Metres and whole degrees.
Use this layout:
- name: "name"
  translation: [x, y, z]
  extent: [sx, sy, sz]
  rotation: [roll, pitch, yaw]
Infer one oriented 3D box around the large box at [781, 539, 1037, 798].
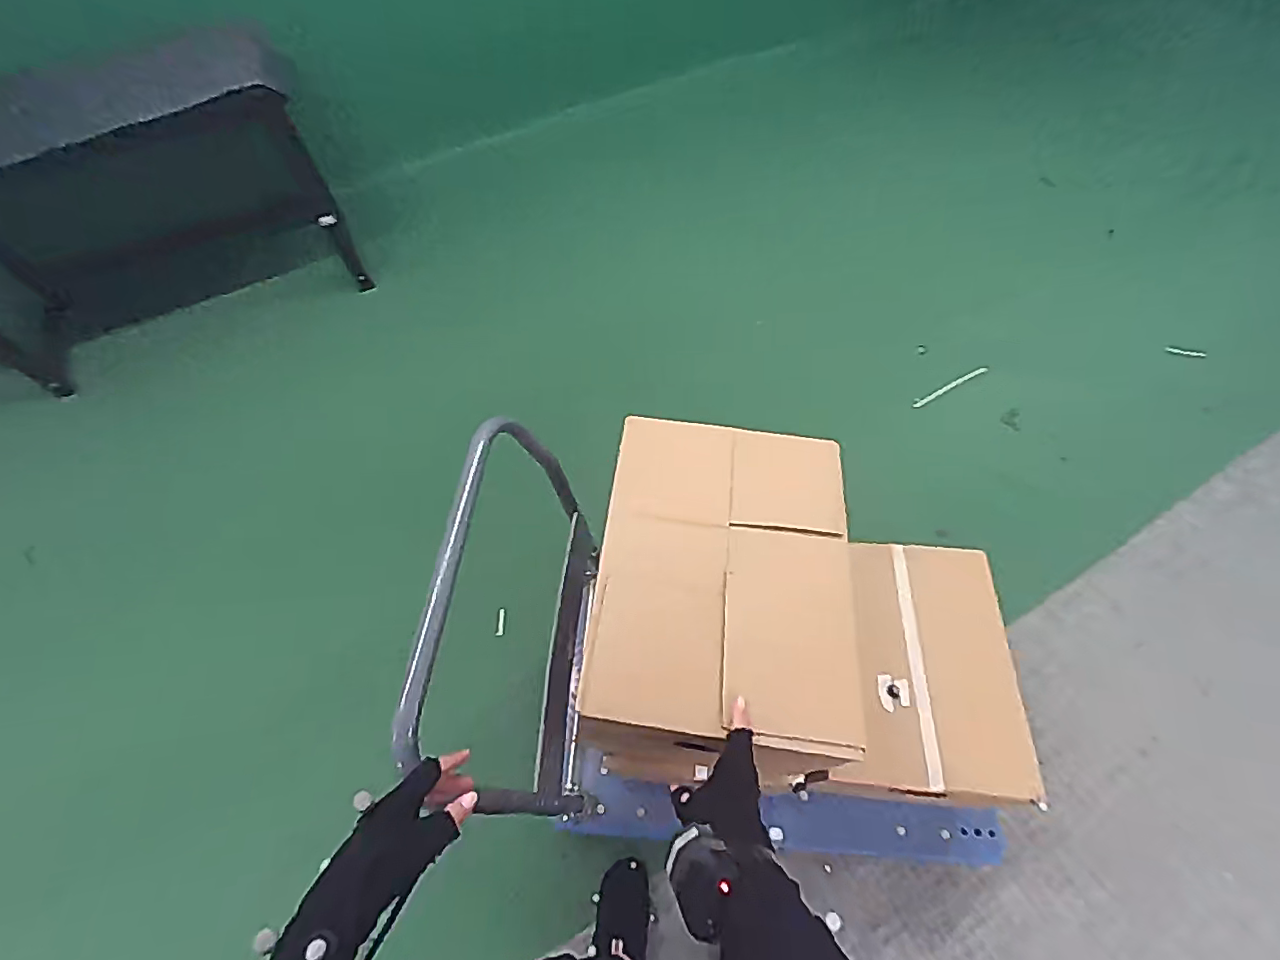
- name: "large box"
  translation: [0.459, 0.362, 1.037]
  extent: [0.320, 0.320, 0.408]
  rotation: [3, 59, 6]
